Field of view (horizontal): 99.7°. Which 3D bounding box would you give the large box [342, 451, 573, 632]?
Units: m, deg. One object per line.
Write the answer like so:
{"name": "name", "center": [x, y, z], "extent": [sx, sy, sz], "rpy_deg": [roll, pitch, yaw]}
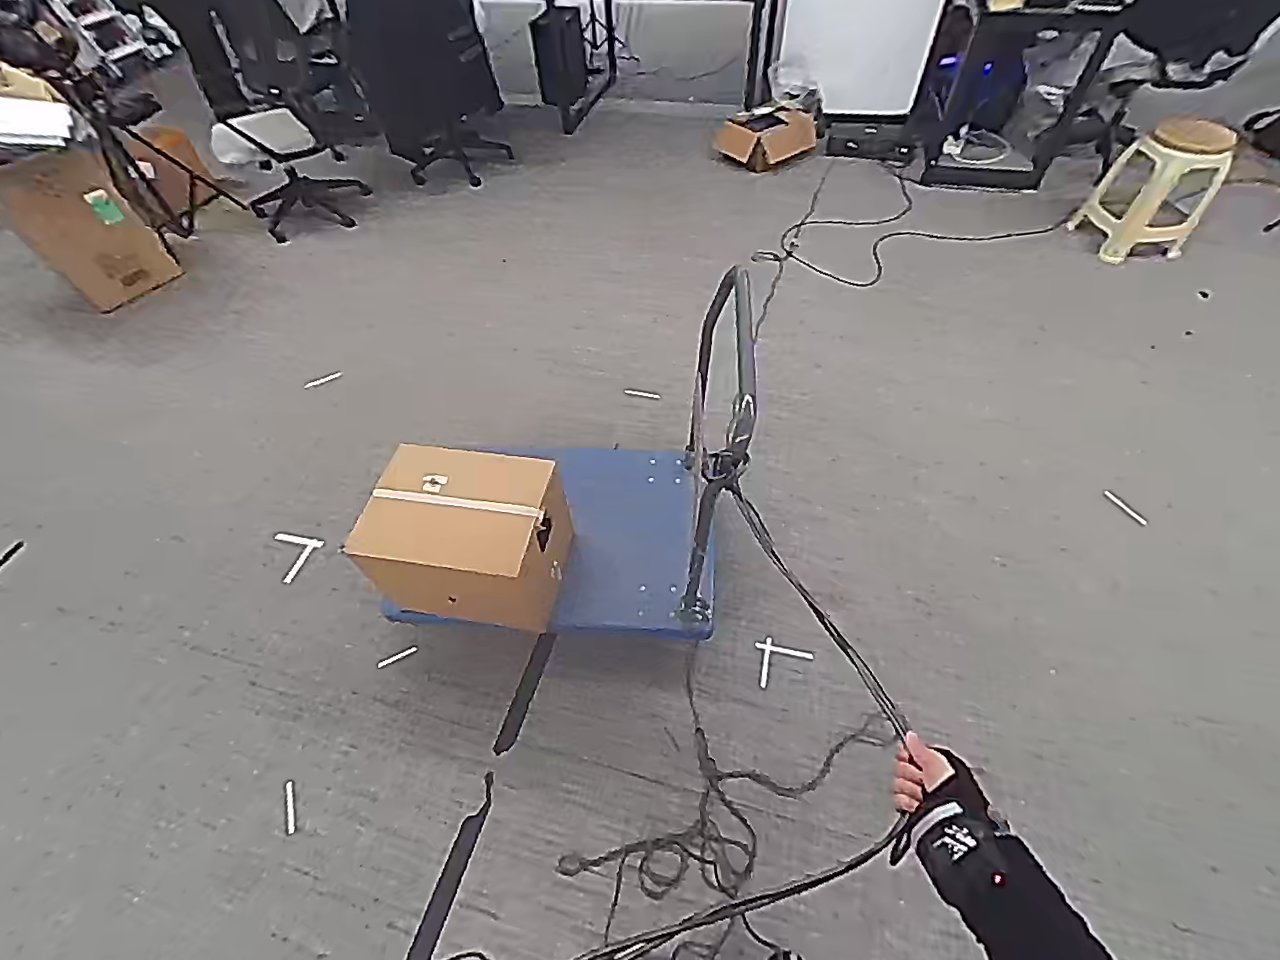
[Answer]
{"name": "large box", "center": [-0.411, 0.156, 1.335], "extent": [0.408, 0.320, 0.320], "rpy_deg": [6, 53, 9]}
